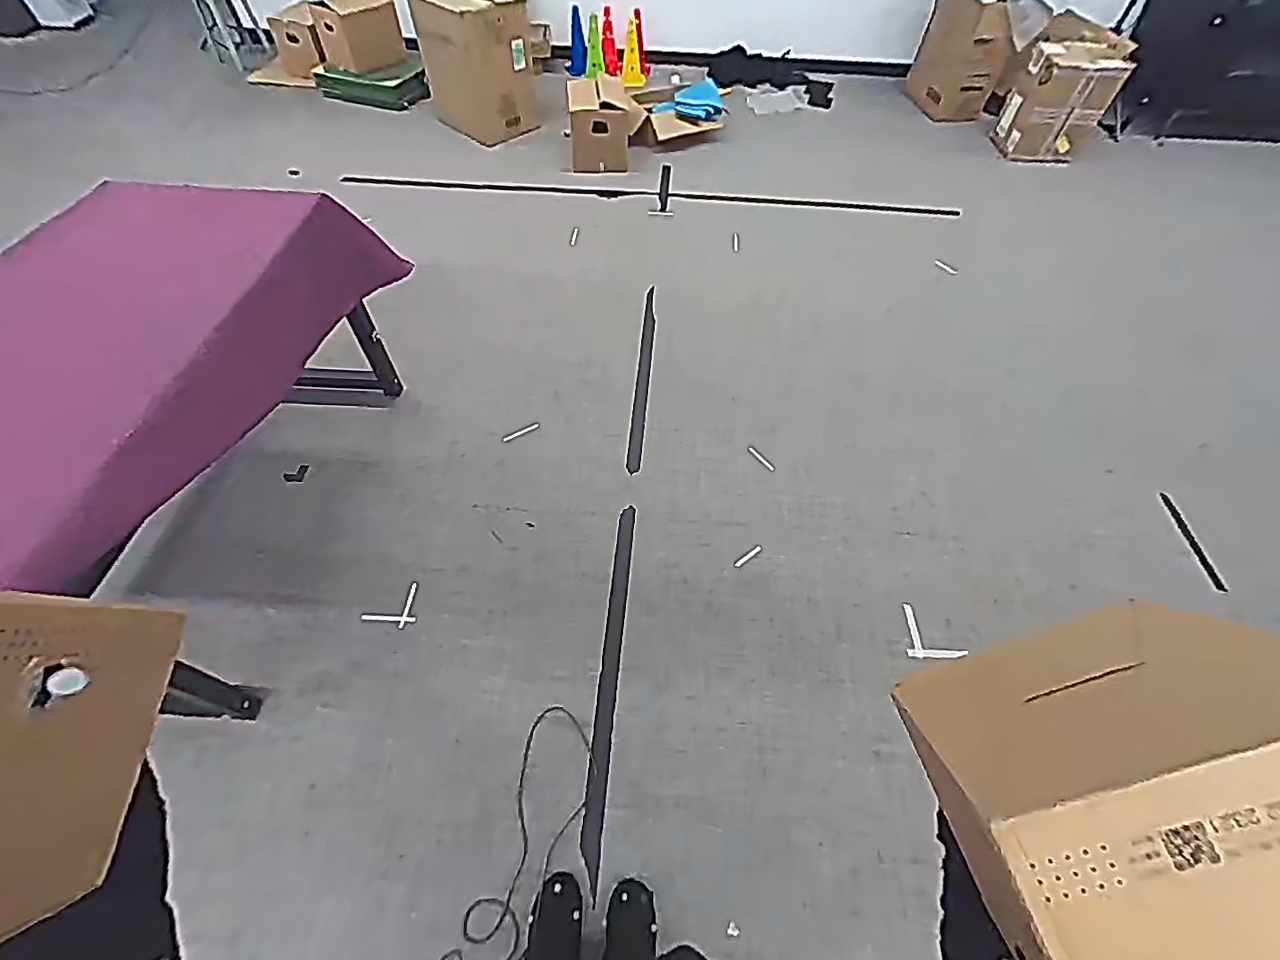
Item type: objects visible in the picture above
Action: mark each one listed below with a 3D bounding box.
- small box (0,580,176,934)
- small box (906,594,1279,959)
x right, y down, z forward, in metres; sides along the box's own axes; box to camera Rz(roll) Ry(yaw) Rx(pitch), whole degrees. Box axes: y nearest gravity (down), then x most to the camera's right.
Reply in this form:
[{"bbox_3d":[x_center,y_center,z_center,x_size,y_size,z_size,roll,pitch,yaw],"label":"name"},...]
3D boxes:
[{"bbox_3d":[-0.387,0.127,0.258,0.168,0.179,0.176,7,74,-2],"label":"small box"},{"bbox_3d":[0.257,0.170,0.260,0.168,0.179,0.176,-23,83,11],"label":"small box"}]
